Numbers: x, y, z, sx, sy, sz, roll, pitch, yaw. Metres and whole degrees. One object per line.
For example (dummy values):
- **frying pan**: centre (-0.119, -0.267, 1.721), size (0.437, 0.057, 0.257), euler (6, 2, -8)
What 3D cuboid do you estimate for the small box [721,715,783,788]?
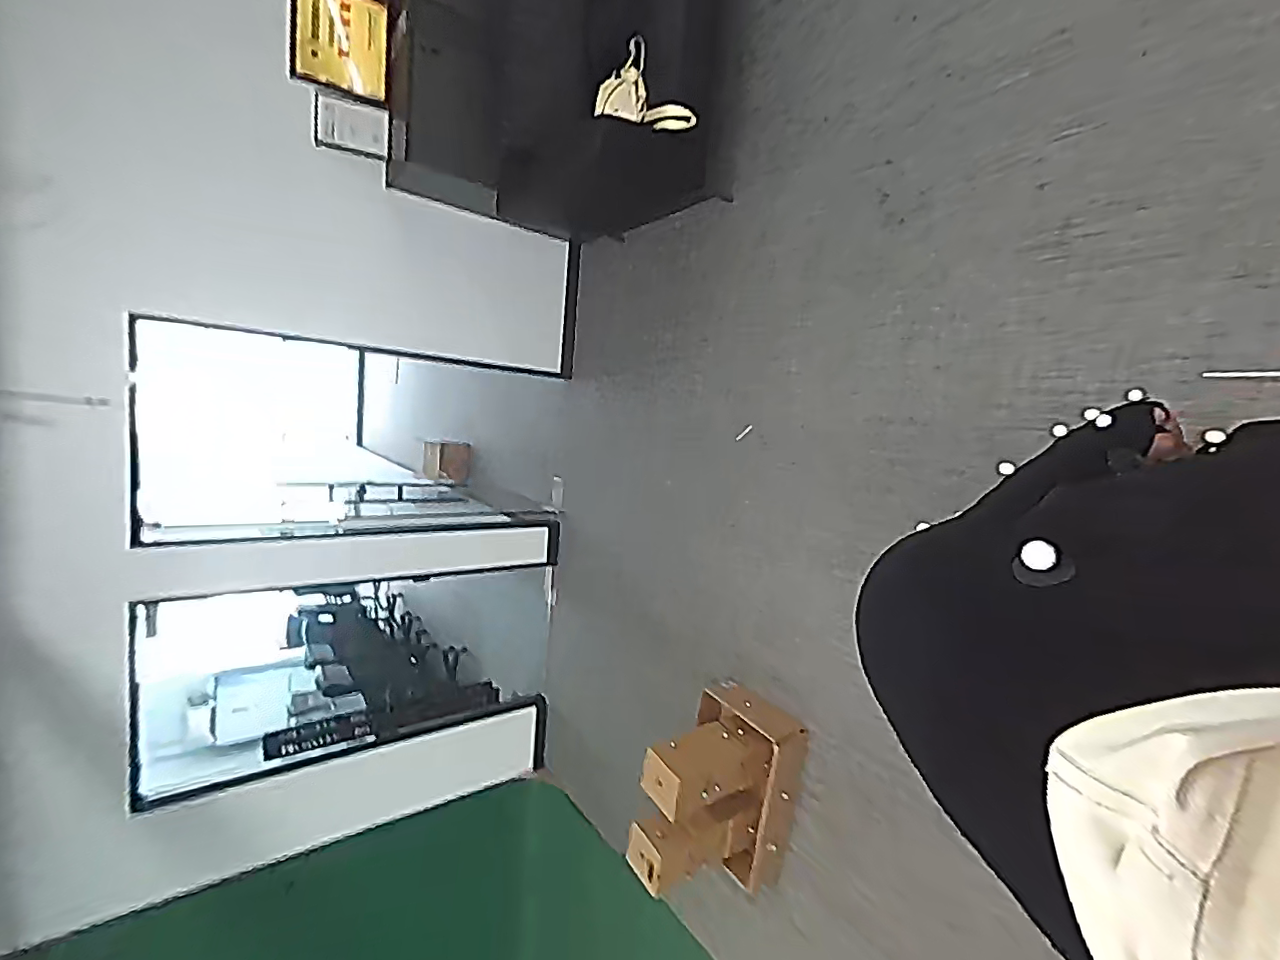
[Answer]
- **small box**: centre (0.410, 1.017, 2.046), size (0.179, 0.176, 0.168), euler (22, 107, 52)

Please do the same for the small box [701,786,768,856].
- **small box**: centre (0.366, 1.299, 2.100), size (0.179, 0.176, 0.168), euler (22, 106, 53)

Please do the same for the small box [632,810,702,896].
- **small box**: centre (0.097, 1.302, 1.910), size (0.179, 0.176, 0.168), euler (22, 106, 54)

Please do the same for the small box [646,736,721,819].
- **small box**: centre (0.148, 1.006, 1.850), size (0.179, 0.176, 0.168), euler (25, 110, 51)

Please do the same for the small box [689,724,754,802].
- **small box**: centre (0.280, 1.008, 1.947), size (0.179, 0.176, 0.168), euler (24, 109, 52)
